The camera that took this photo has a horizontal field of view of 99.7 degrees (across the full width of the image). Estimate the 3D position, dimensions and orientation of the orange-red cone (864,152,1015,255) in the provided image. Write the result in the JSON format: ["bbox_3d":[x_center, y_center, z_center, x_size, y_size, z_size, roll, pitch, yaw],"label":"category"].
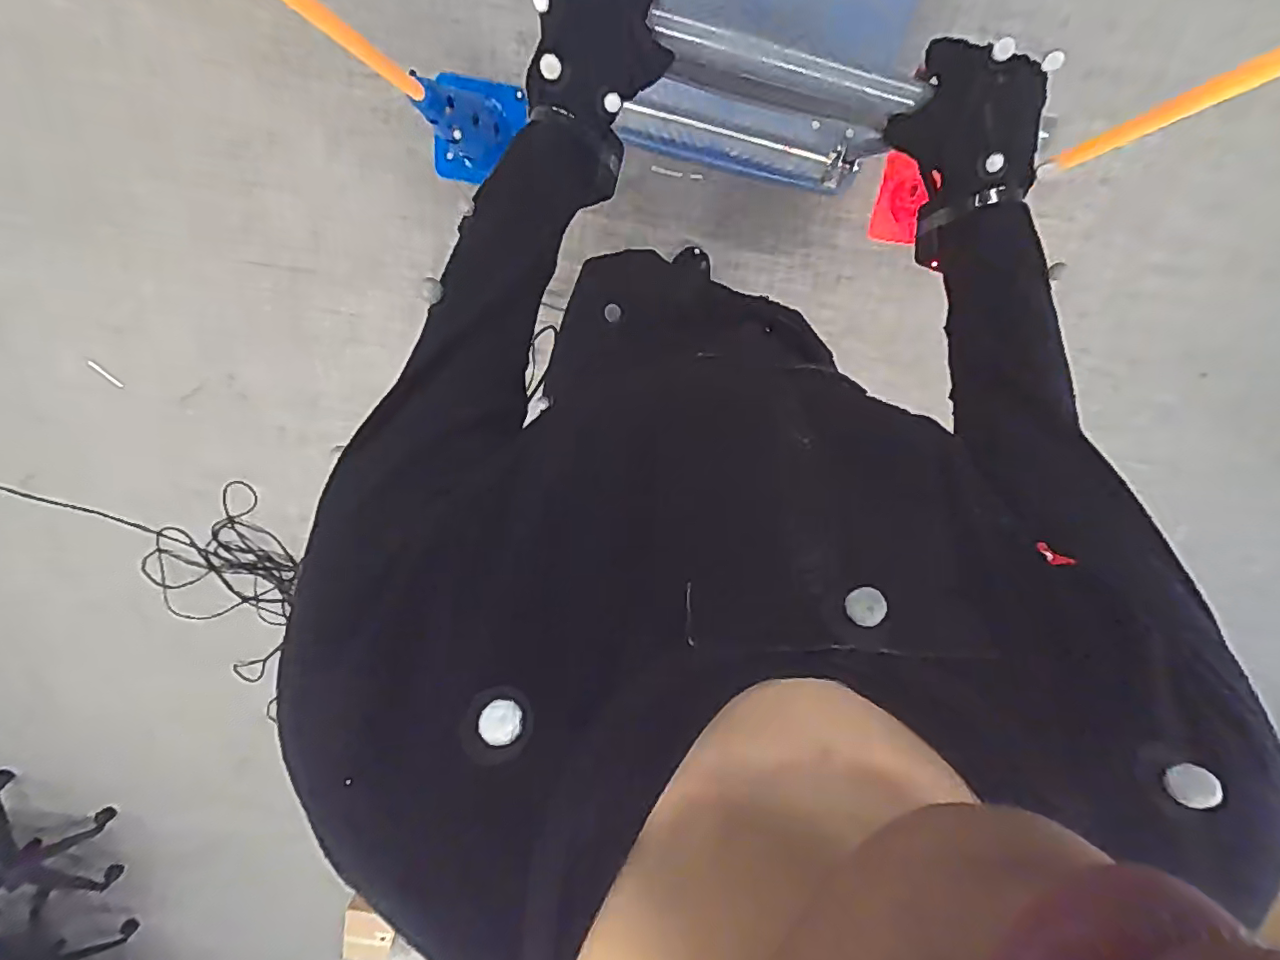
[{"bbox_3d":[0.635,-0.576,1.101,0.199,0.360,0.198,9,112,-2],"label":"orange-red cone"}]
